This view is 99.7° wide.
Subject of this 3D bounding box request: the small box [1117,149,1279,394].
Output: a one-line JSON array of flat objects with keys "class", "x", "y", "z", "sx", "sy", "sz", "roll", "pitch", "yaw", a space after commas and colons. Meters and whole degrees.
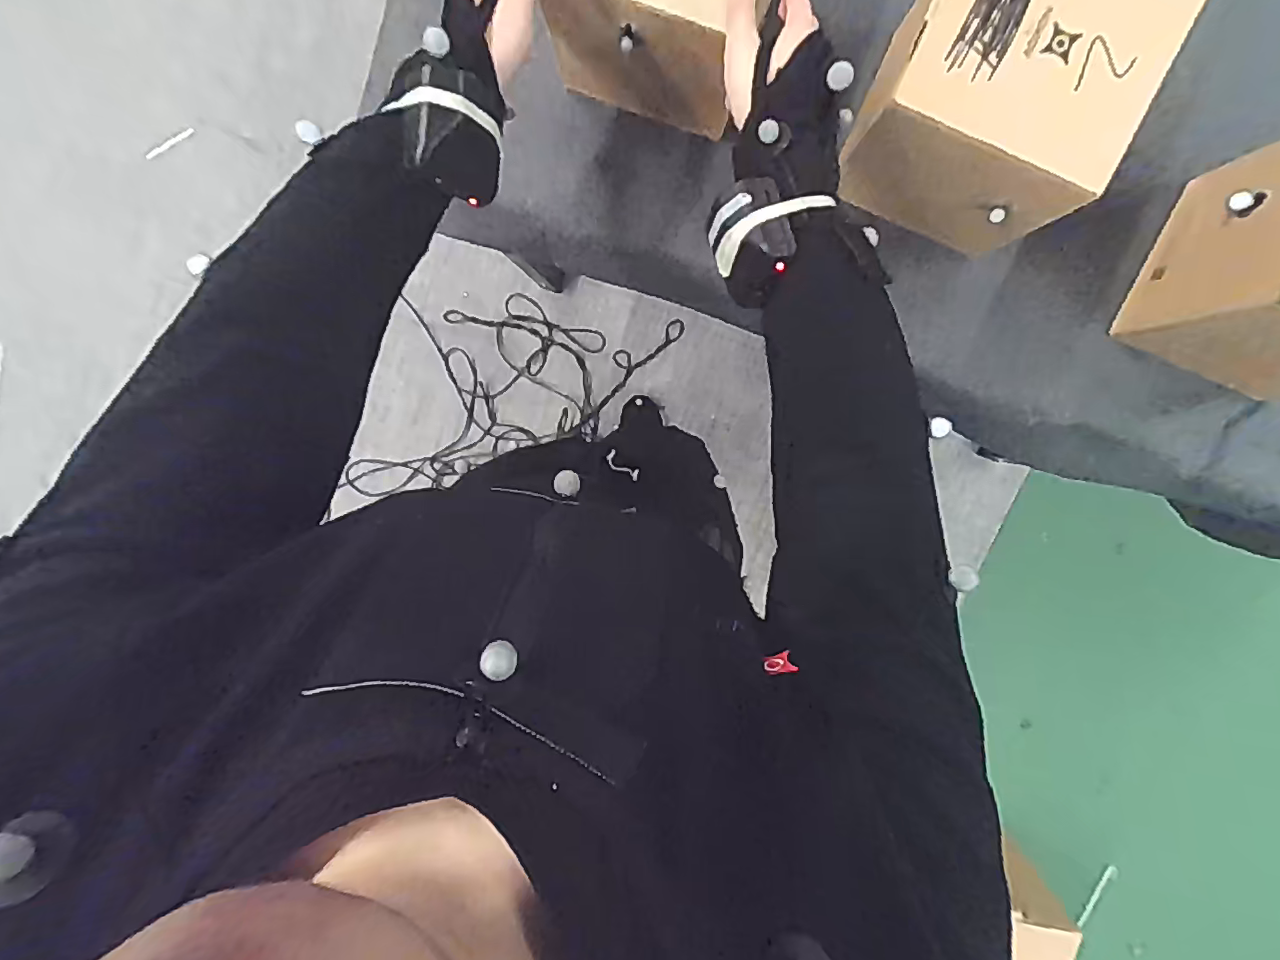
[{"class": "small box", "x": 0.589, "y": -0.179, "z": 0.472, "sx": 0.179, "sy": 0.176, "sz": 0.168, "roll": 23, "pitch": 98, "yaw": -1}]
